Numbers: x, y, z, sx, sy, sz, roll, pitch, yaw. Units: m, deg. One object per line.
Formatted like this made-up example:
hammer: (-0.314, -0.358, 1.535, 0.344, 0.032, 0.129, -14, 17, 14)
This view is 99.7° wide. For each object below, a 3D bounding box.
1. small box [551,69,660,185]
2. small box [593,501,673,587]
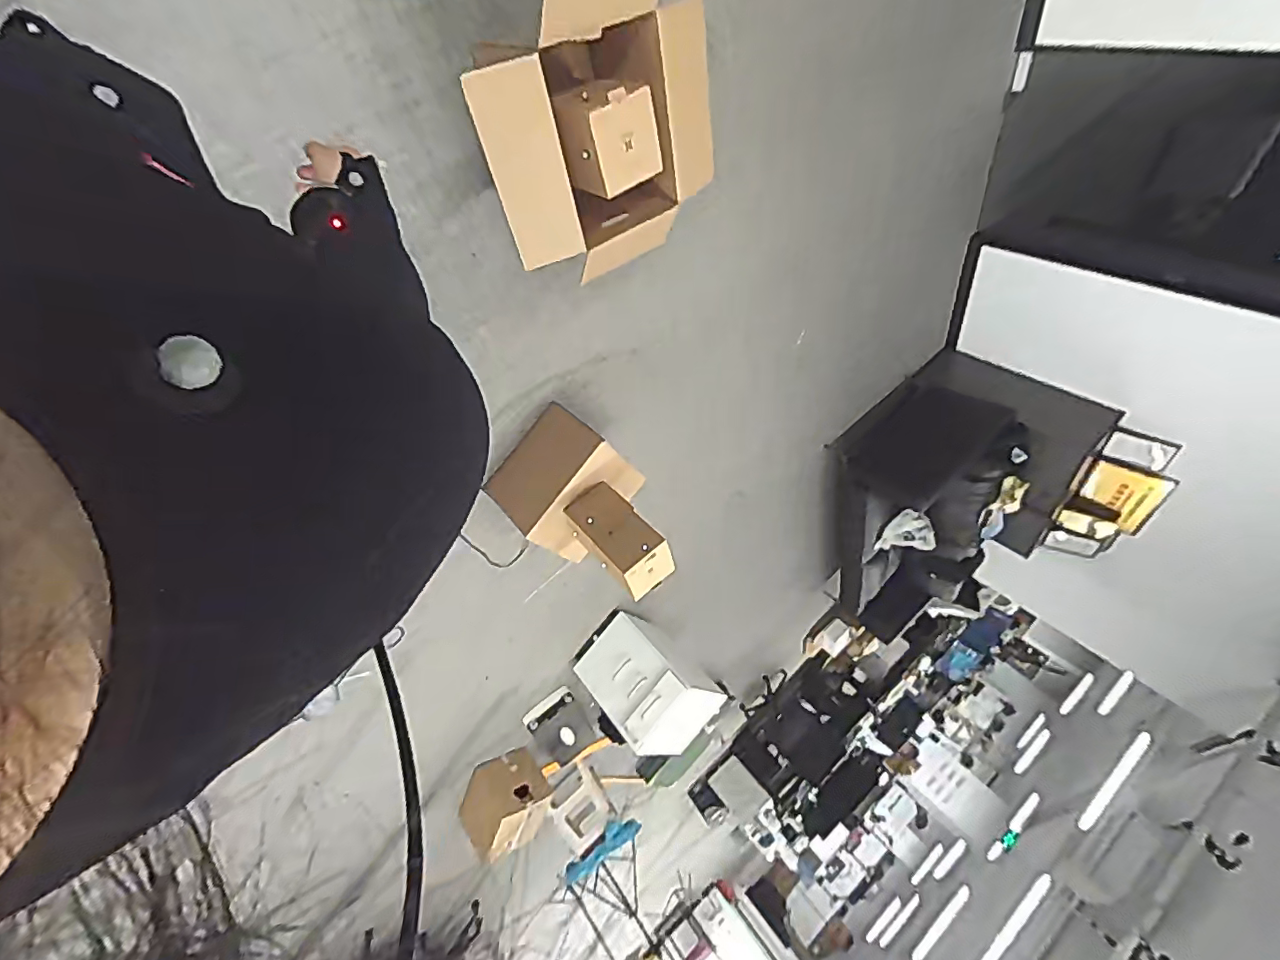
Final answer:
small box: (-0.079, -0.814, 1.240, 0.168, 0.176, 0.179, -36, 142, -15)
small box: (-0.021, 0.198, 1.699, 0.168, 0.176, 0.179, -38, 144, -16)
